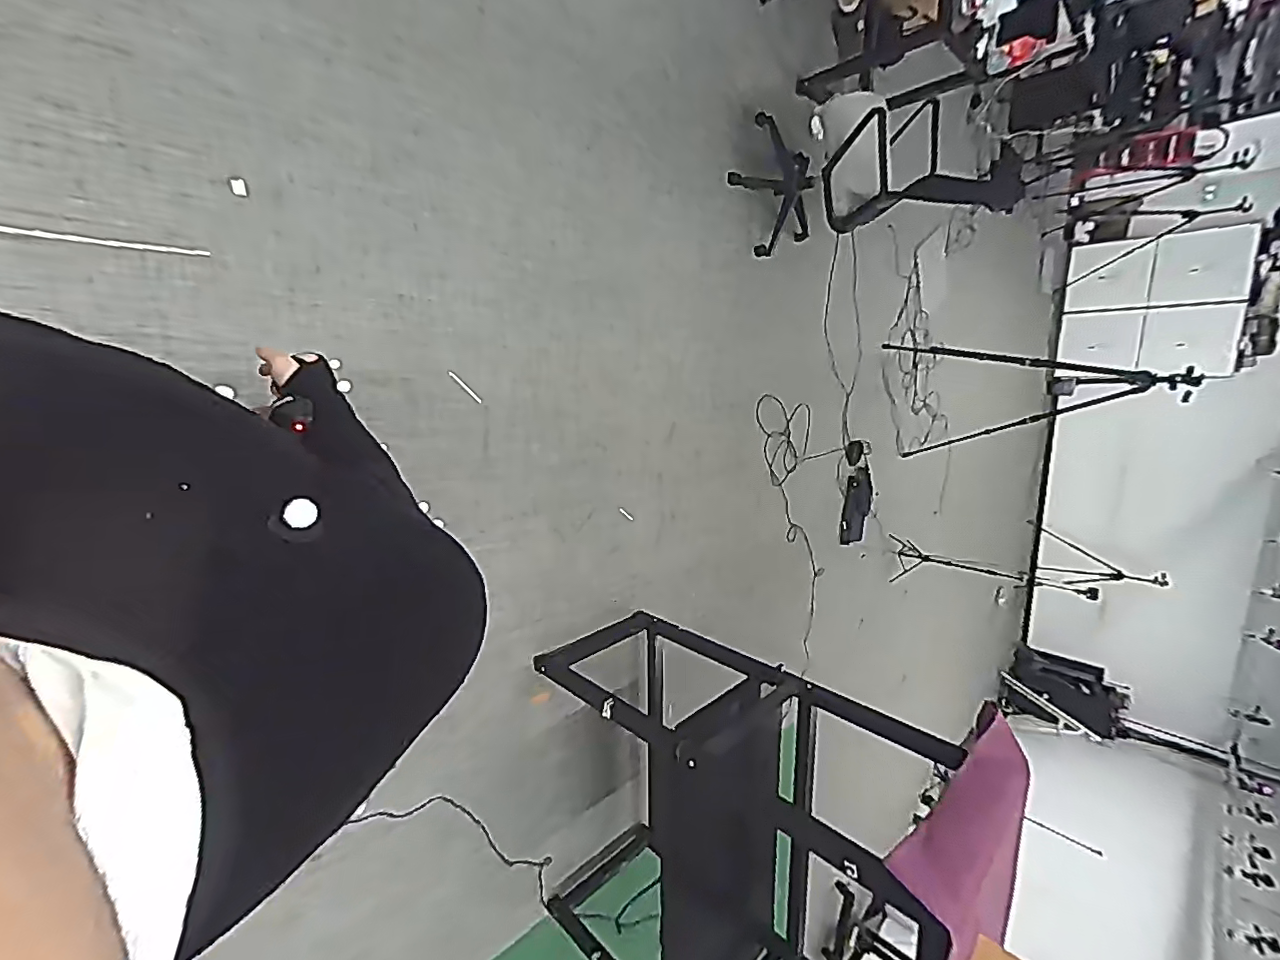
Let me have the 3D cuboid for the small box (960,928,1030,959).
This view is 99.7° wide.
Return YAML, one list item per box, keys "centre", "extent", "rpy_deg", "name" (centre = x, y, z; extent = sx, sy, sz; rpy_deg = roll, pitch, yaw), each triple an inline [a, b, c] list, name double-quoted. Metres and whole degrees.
- centre: [0.757, 1.114, 1.131]
  extent: [0.179, 0.176, 0.168]
  rpy_deg: [-12, 106, -45]
  name: "small box"
